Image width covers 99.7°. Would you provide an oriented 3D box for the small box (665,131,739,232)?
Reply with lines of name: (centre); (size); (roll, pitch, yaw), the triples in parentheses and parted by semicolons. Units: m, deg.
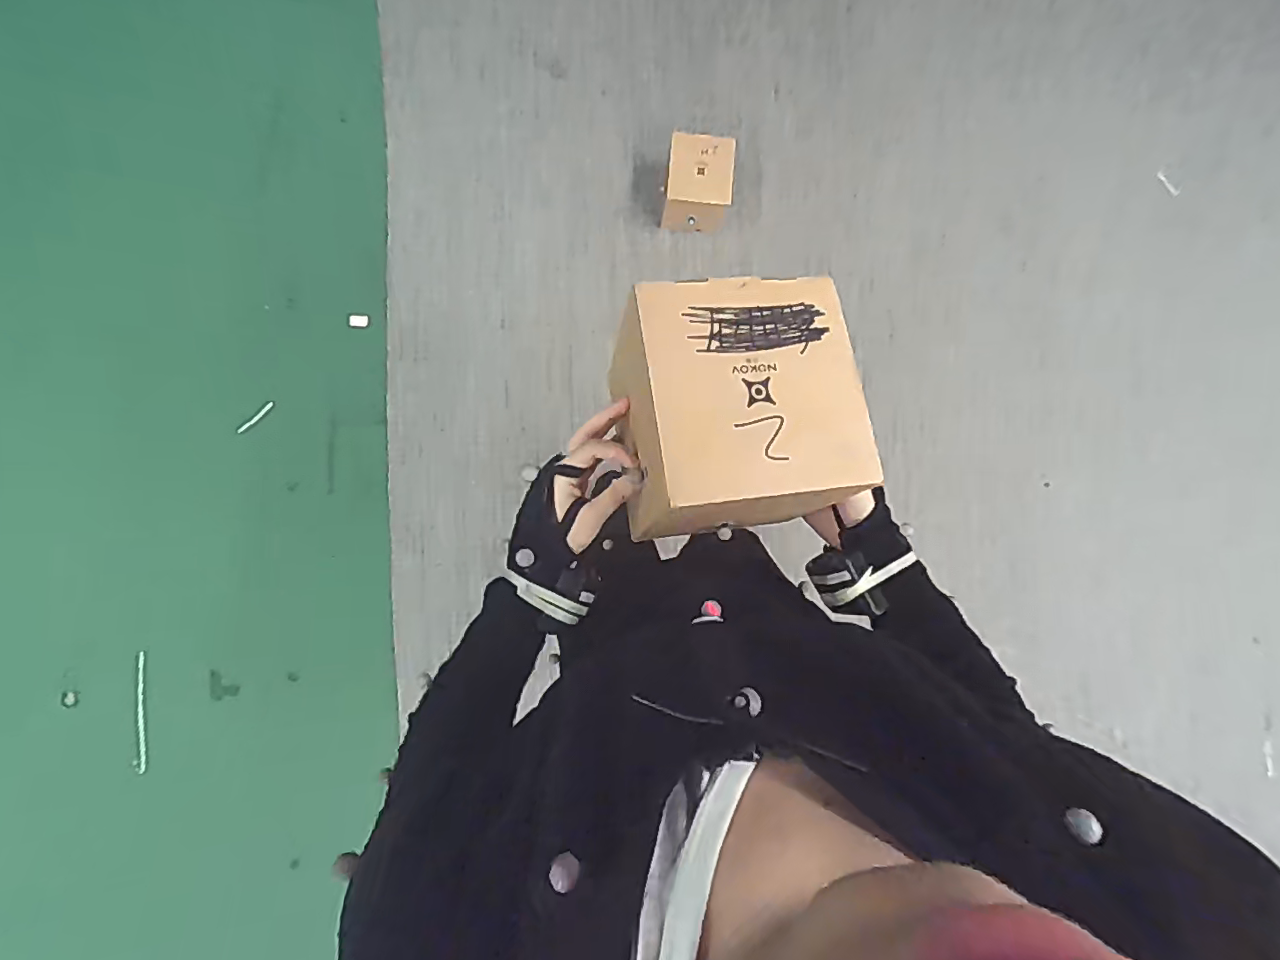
small box: (0.158, -0.786, 1.442); (0.168, 0.176, 0.179); (5, 89, -3)
